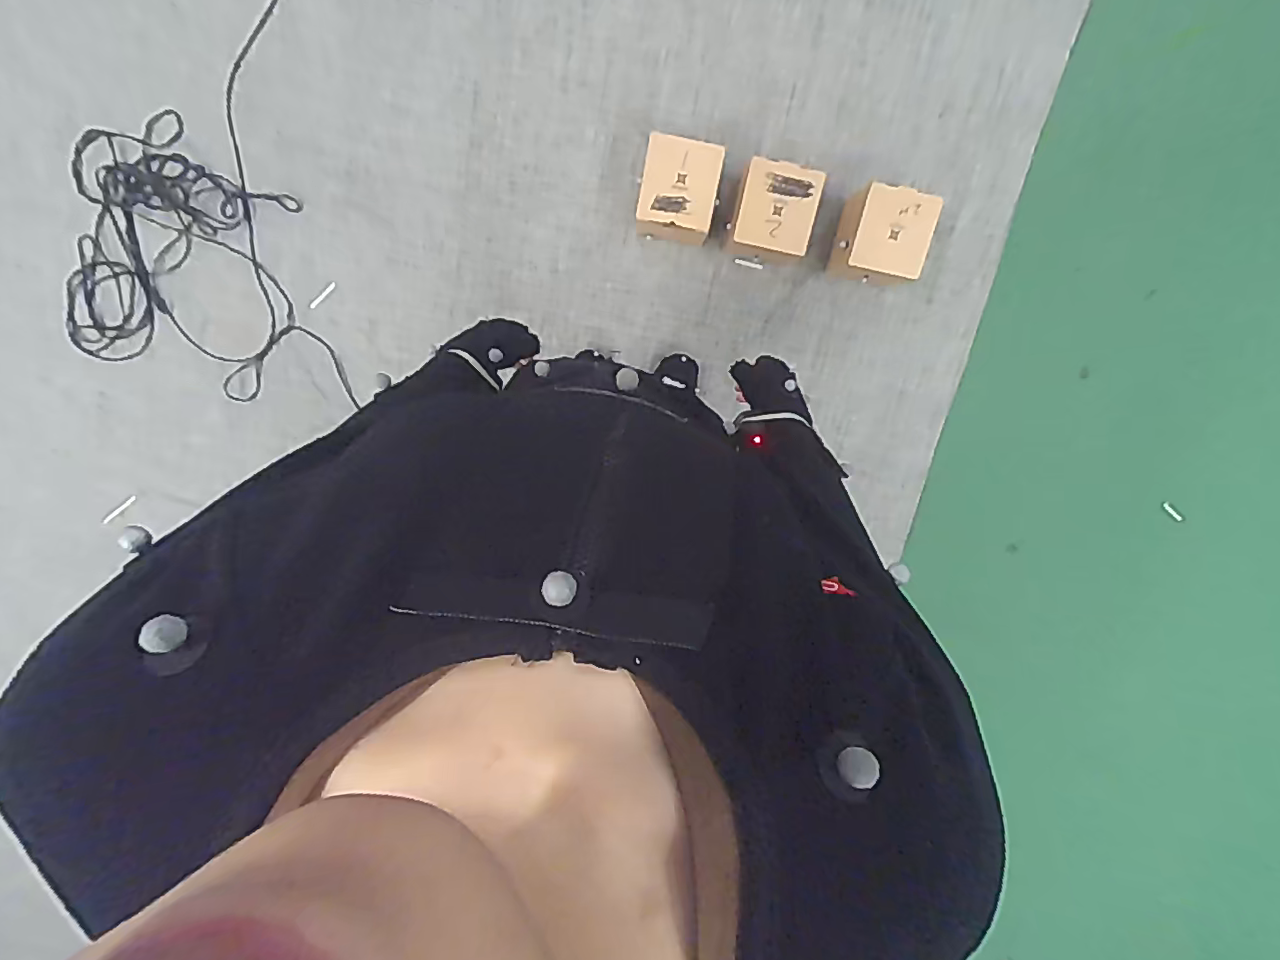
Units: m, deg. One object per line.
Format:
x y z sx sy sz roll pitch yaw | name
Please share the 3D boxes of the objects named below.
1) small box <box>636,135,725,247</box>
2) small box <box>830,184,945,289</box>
0.090 -0.650 1.240 0.168 0.176 0.179 11 103 -1 | small box
0.561 -0.554 1.255 0.168 0.176 0.179 12 104 -2 | small box
